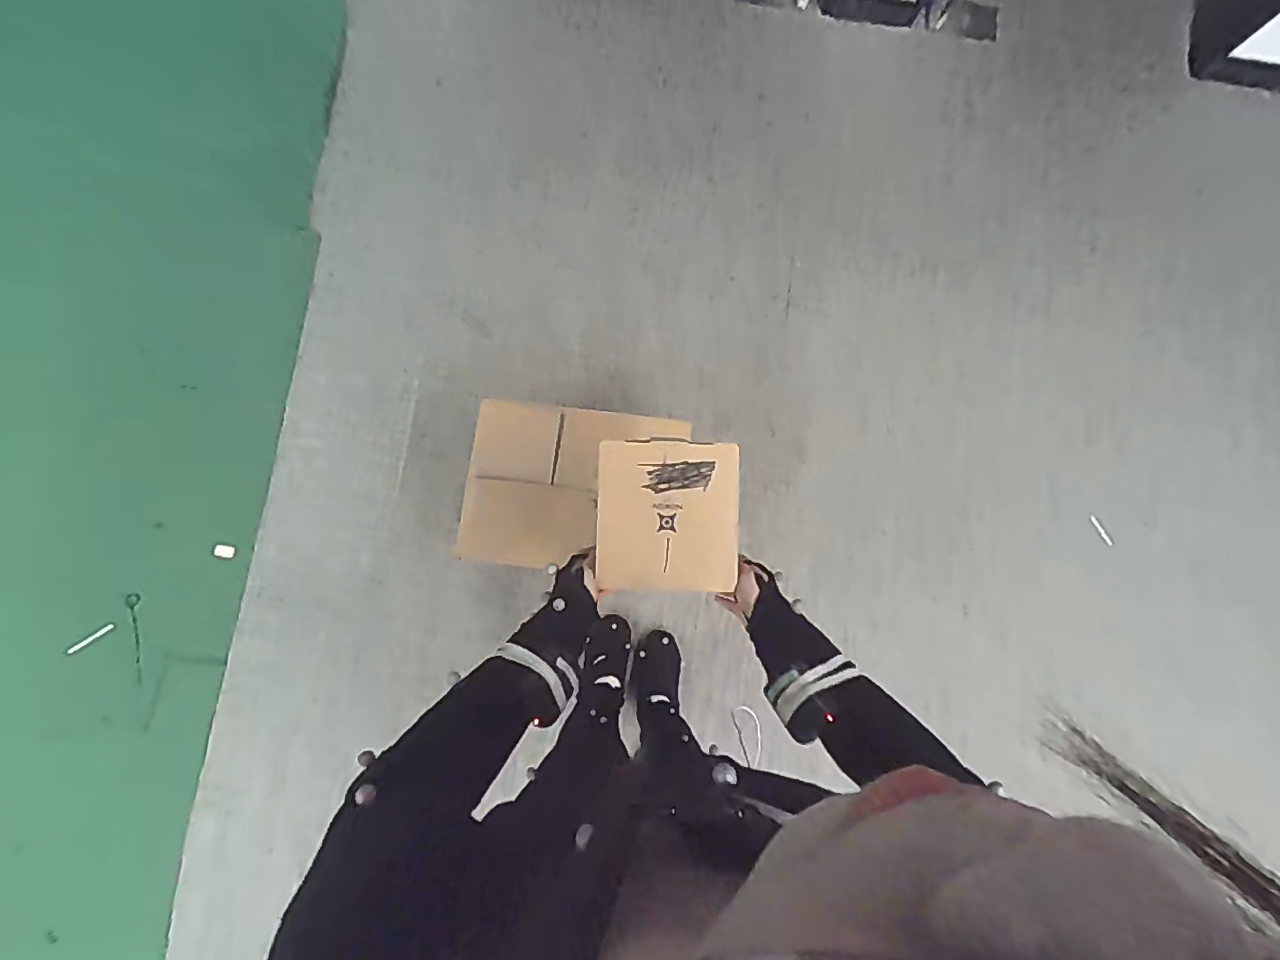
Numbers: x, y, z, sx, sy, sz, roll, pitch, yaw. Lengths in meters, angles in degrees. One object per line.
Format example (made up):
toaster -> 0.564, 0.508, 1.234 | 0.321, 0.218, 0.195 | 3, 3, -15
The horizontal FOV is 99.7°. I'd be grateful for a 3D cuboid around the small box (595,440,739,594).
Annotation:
small box -> 0.030, 0.048, 0.713 | 0.168, 0.176, 0.179 | 2, 87, -1
